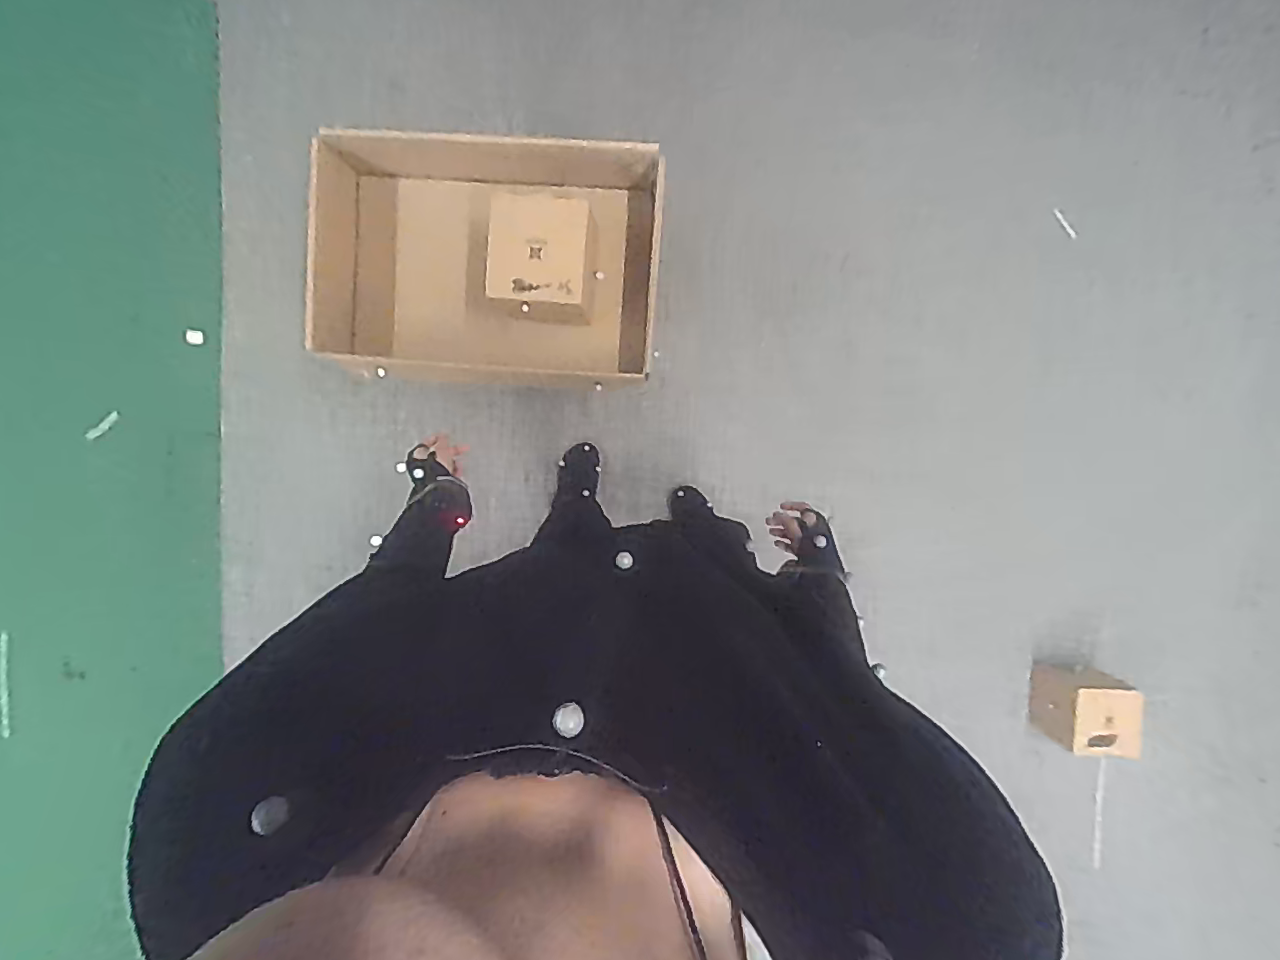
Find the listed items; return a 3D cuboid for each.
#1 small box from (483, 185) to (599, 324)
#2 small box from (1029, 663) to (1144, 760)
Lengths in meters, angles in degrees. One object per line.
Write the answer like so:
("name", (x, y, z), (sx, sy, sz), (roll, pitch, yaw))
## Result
("small box", (-0.168, -0.396, 0.971), (0.168, 0.176, 0.179), (6, 93, 3))
("small box", (1.164, 0.604, 1.424), (0.168, 0.176, 0.179), (2, 92, 1))
